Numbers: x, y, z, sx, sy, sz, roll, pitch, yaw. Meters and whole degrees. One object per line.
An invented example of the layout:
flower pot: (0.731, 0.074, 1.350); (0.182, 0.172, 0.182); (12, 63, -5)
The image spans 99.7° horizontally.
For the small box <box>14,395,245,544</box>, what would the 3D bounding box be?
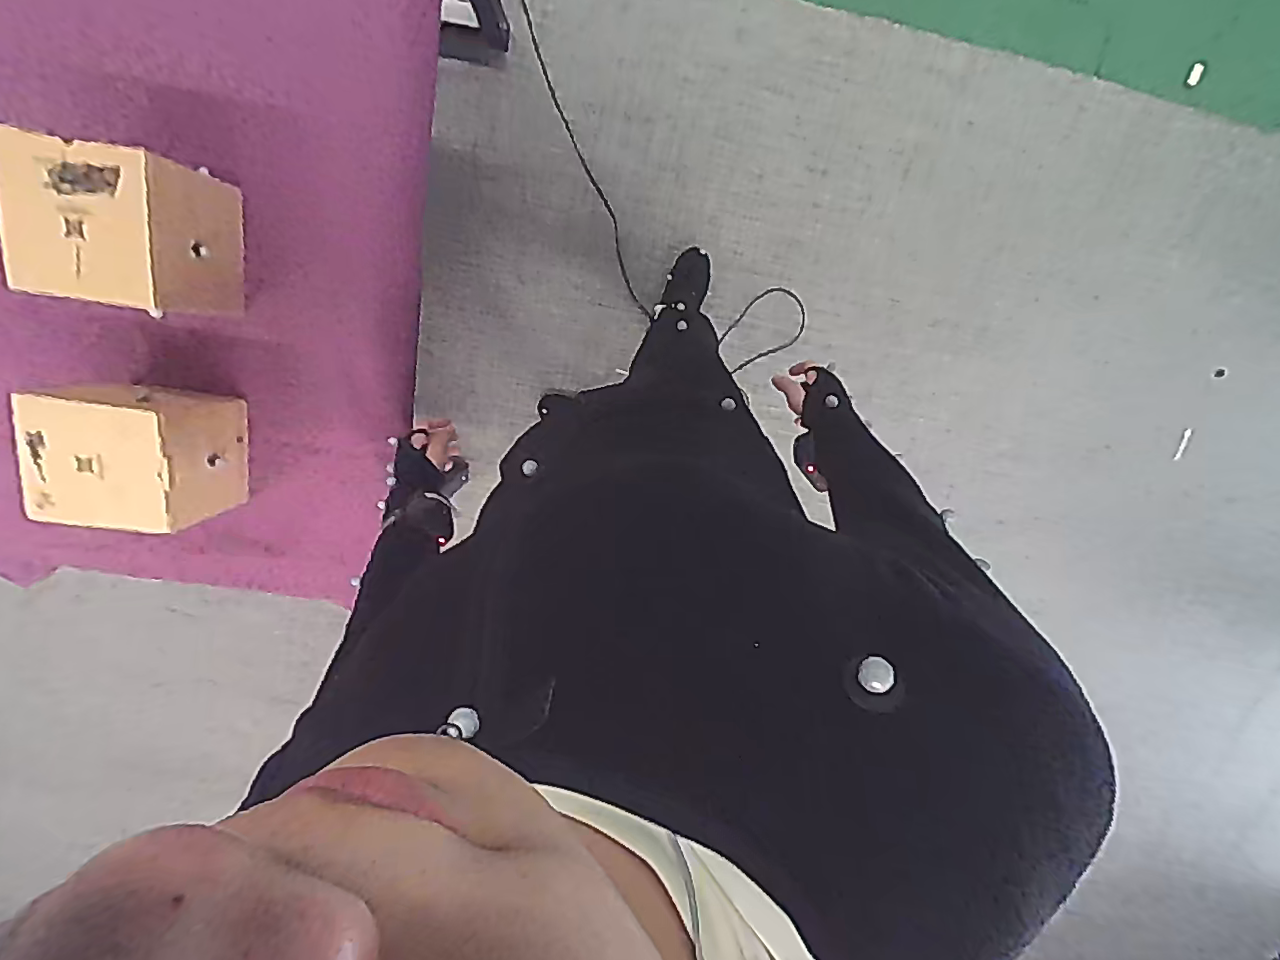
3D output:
small box: (-0.694, -0.023, 0.762); (0.179, 0.176, 0.168); (7, 103, -6)

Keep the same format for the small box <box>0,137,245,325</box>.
small box: (-0.647, -0.303, 0.697); (0.168, 0.176, 0.179); (8, 104, -5)
